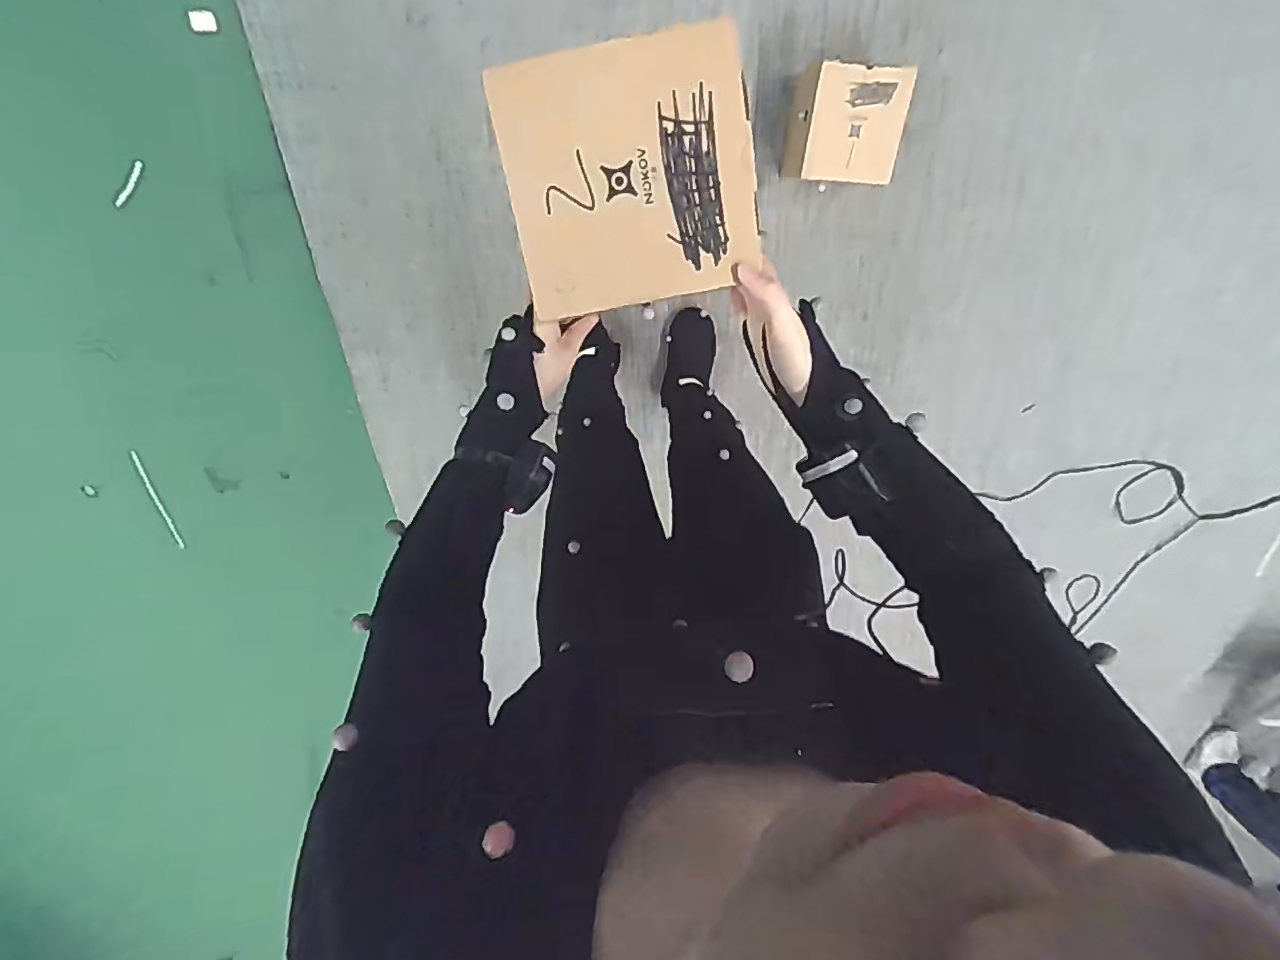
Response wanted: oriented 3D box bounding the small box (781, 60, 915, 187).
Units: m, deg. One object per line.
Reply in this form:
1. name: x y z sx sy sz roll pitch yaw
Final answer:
1. small box: 0.373 -0.655 1.011 0.168 0.176 0.179 3 120 -2
